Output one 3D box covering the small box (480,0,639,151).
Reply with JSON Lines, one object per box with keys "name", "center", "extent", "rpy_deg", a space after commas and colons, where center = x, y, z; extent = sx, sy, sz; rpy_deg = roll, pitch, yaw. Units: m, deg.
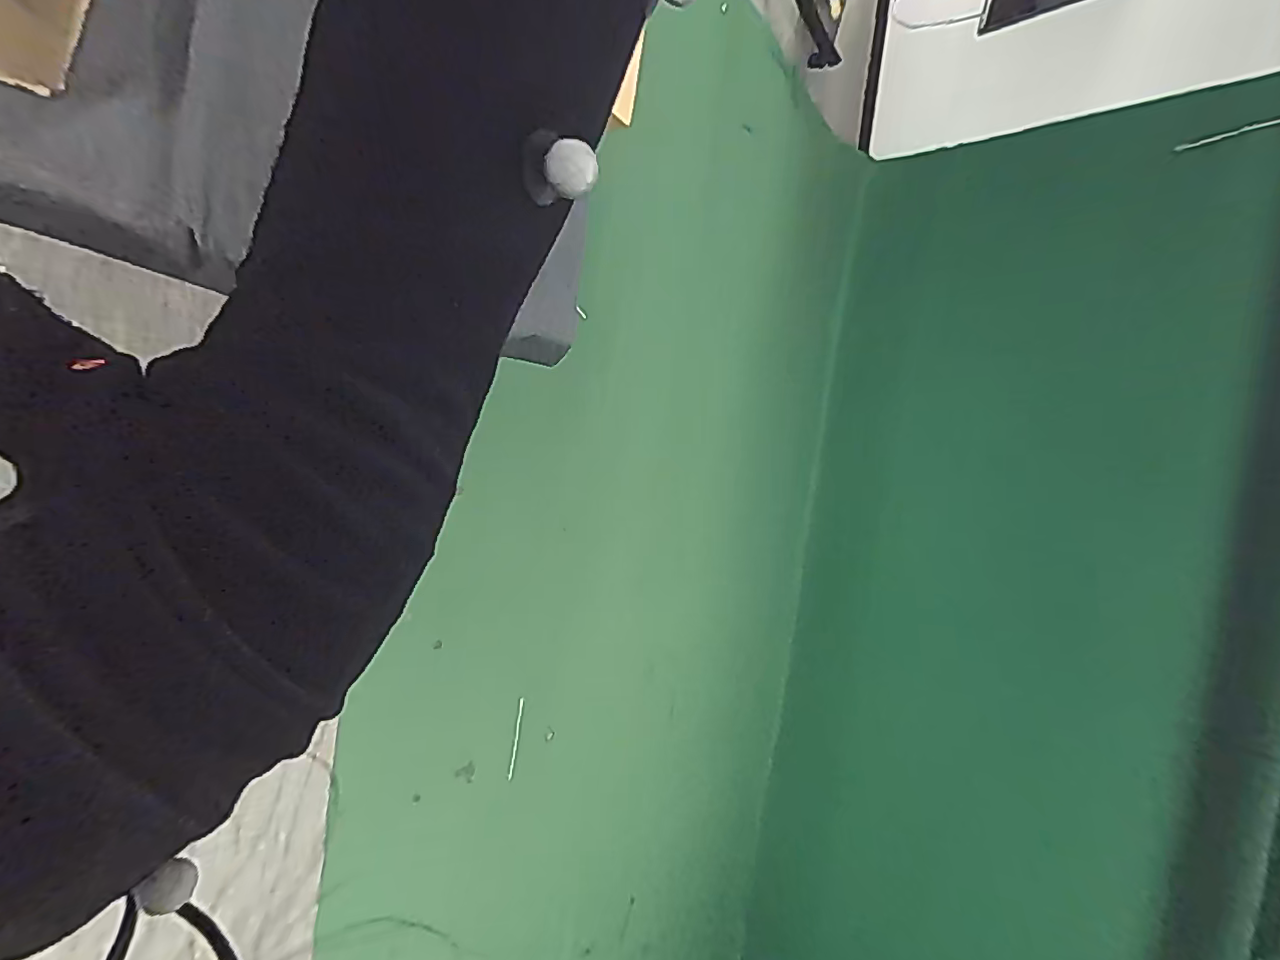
{"name": "small box", "center": [-0.126, -0.654, 0.836], "extent": [0.168, 0.176, 0.179], "rpy_deg": [7, 93, -51]}
